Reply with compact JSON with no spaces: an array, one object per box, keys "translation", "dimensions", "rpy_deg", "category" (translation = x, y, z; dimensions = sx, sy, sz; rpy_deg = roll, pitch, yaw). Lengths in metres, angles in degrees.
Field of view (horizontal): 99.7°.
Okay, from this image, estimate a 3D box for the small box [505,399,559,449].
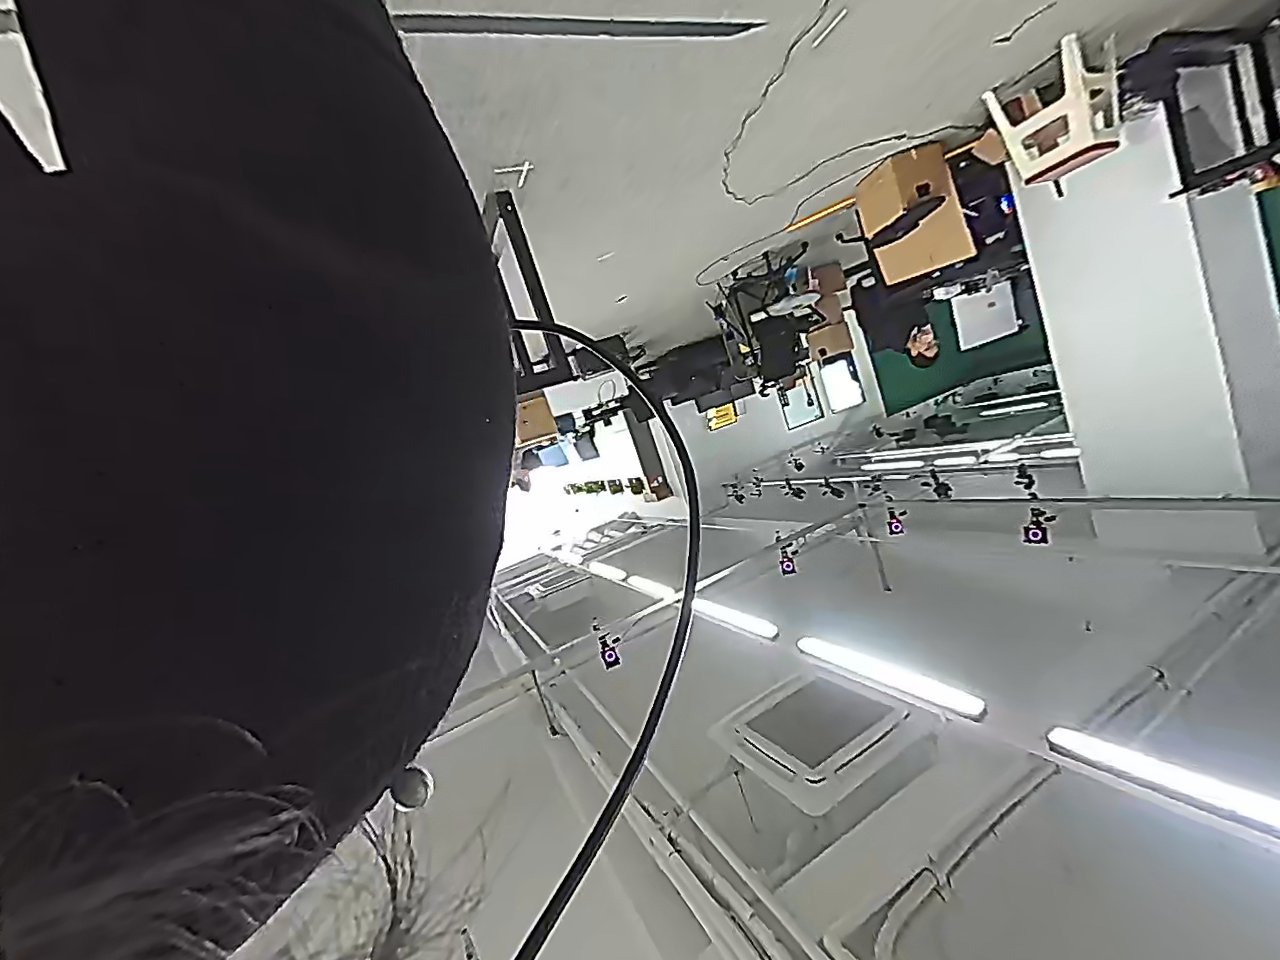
[{"translation":[-0.467,-0.242,2.312],"dimensions":[0.168,0.176,0.179],"rpy_deg":[-20,-174,-20],"category":"small box"}]
